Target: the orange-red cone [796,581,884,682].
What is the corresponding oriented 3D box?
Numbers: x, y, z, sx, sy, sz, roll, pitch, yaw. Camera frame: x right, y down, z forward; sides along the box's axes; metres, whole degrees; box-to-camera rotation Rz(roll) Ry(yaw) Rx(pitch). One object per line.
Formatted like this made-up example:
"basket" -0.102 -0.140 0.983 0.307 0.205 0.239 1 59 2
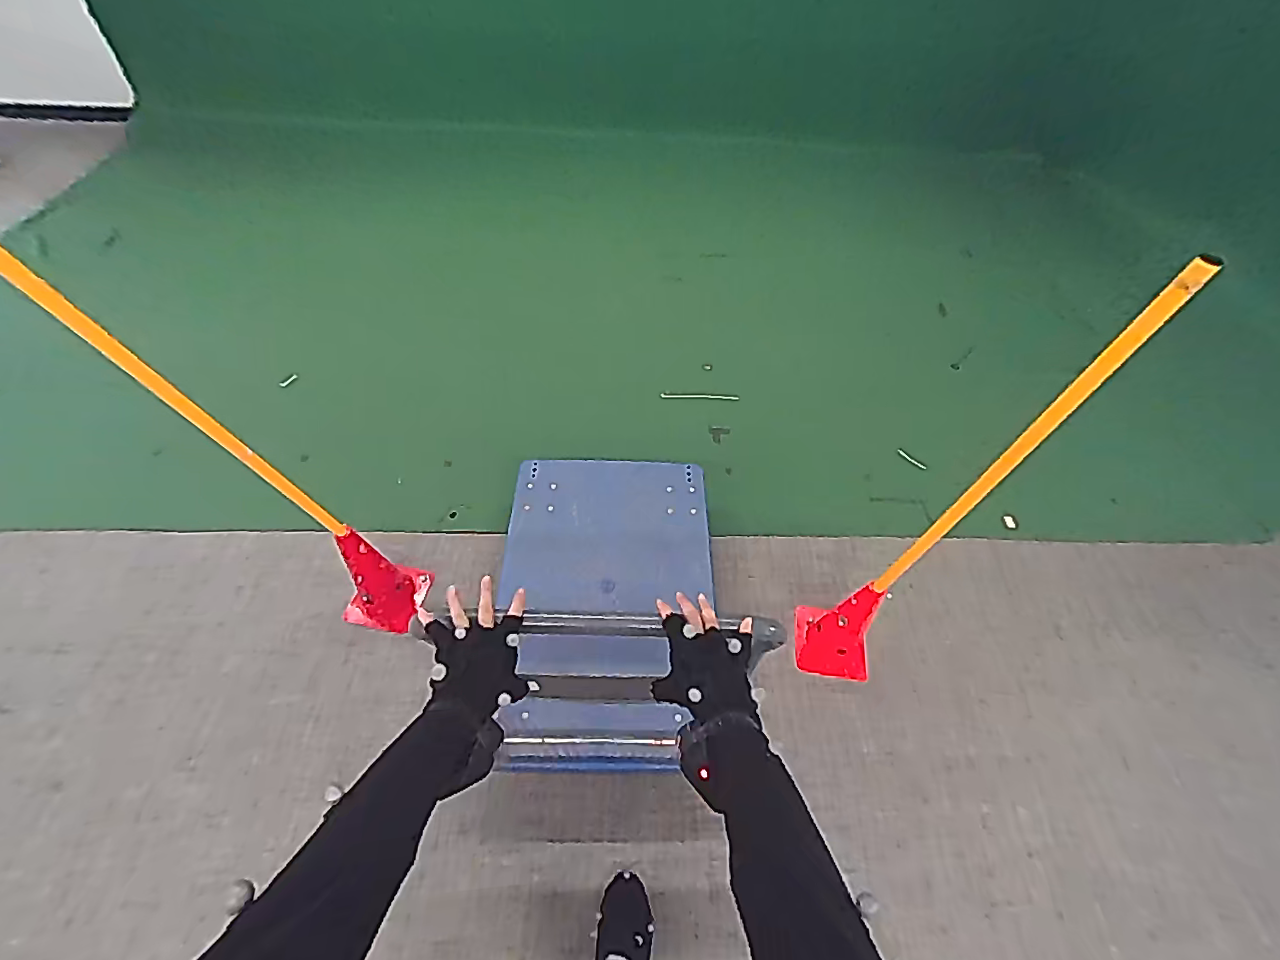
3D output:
"orange-red cone" 0.557 0.366 1.421 0.198 0.360 0.199 10 53 5
